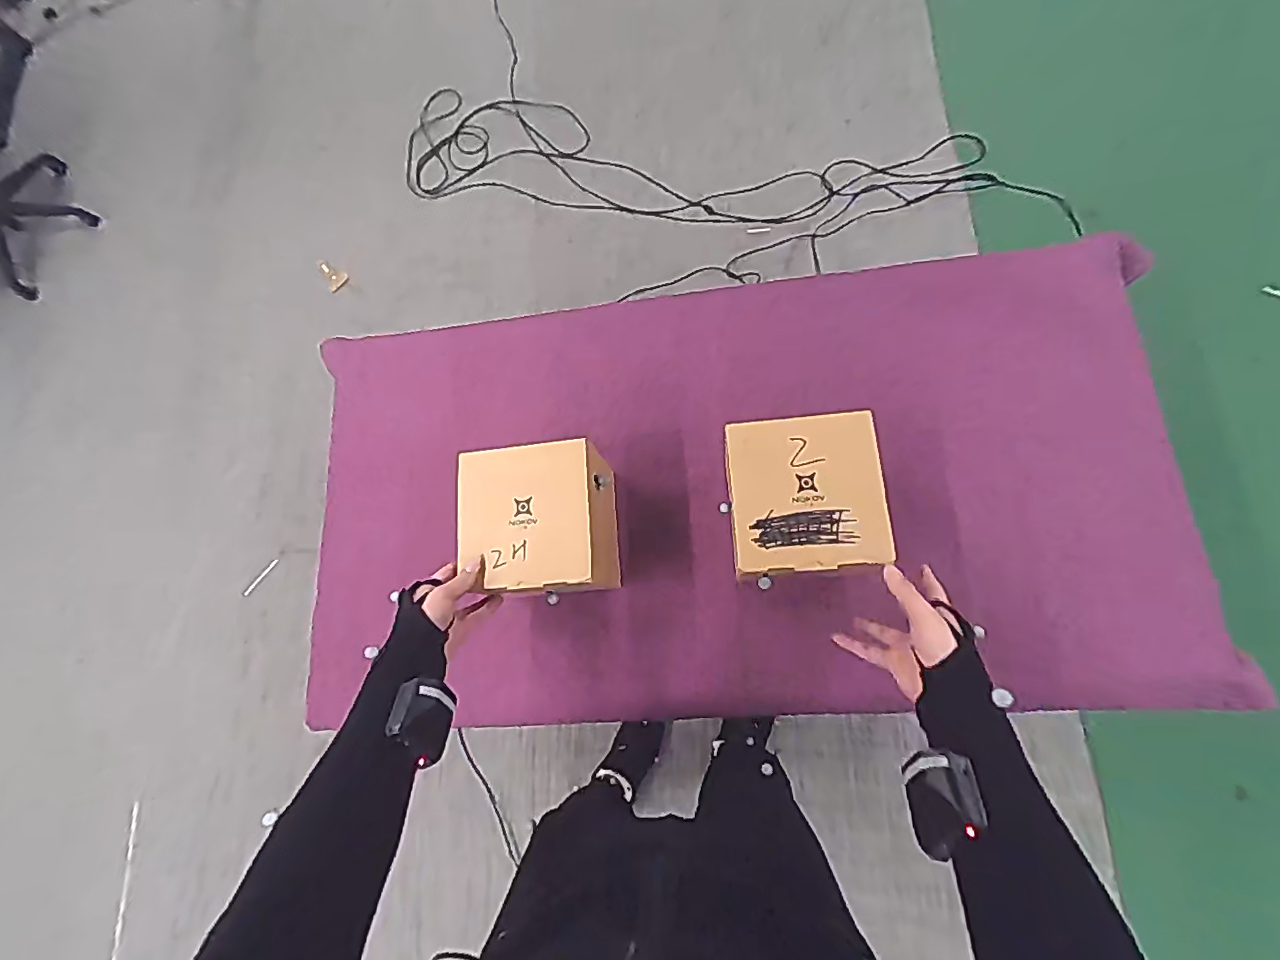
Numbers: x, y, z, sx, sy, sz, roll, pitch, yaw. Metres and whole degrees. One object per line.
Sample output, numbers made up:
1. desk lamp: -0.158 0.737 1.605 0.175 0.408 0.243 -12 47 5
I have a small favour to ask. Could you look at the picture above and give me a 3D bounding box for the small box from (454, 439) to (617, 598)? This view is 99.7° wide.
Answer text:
1. small box: -0.128 0.060 0.713 0.168 0.176 0.179 -6 76 8
